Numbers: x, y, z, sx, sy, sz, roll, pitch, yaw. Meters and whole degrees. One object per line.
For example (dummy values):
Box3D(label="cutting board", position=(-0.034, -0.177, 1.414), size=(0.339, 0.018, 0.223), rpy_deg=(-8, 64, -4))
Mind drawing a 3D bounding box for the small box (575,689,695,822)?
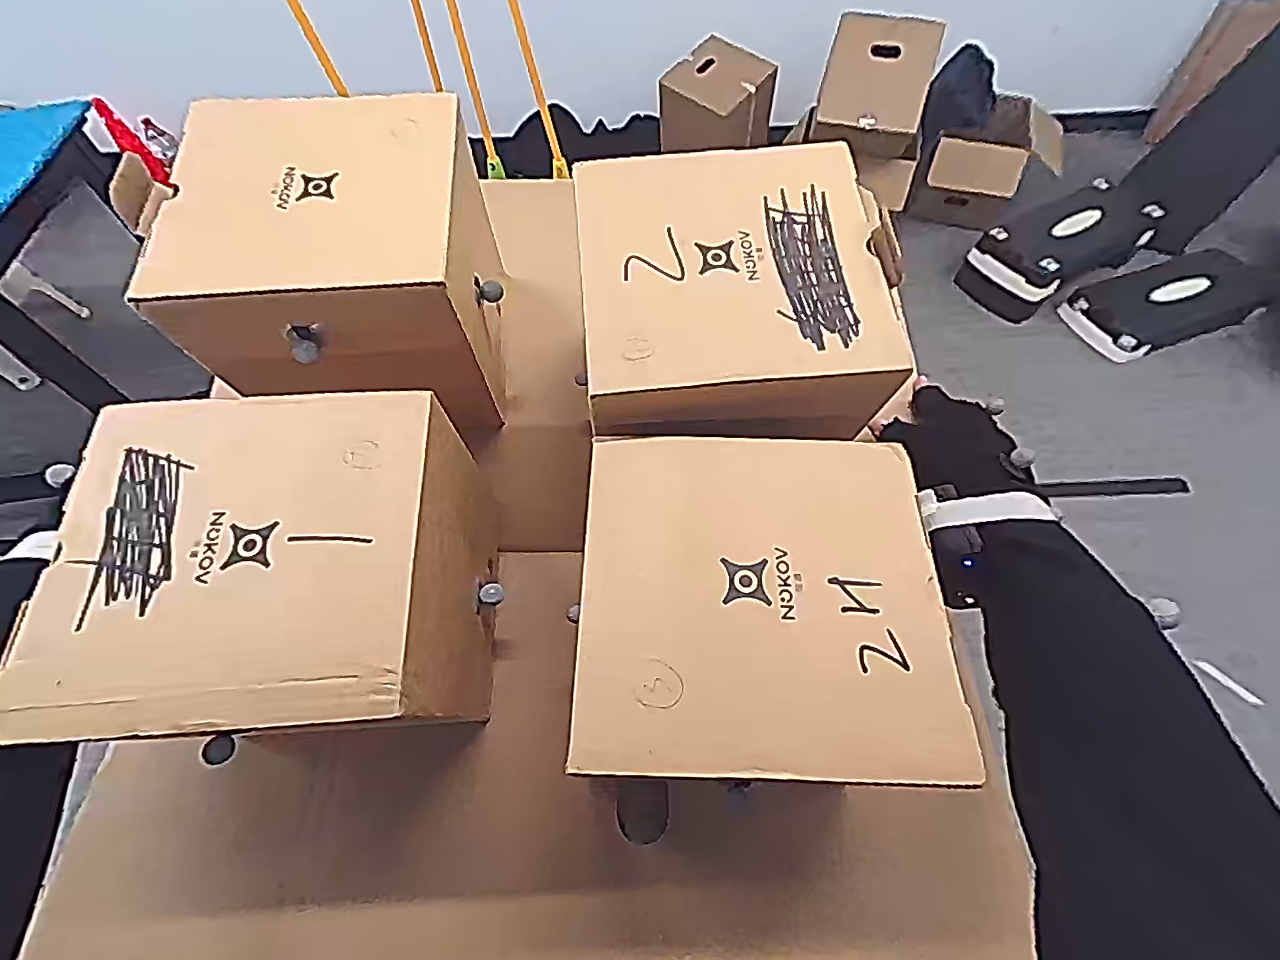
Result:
Box3D(label="small box", position=(-0.021, 0.566, 1.111), size=(0.168, 0.176, 0.179), rpy_deg=(-11, 57, -28))

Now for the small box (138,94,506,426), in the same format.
Box3D(label="small box", position=(-0.205, -0.153, 0.412), size=(0.179, 0.176, 0.168), rpy_deg=(-4, 68, -2))
